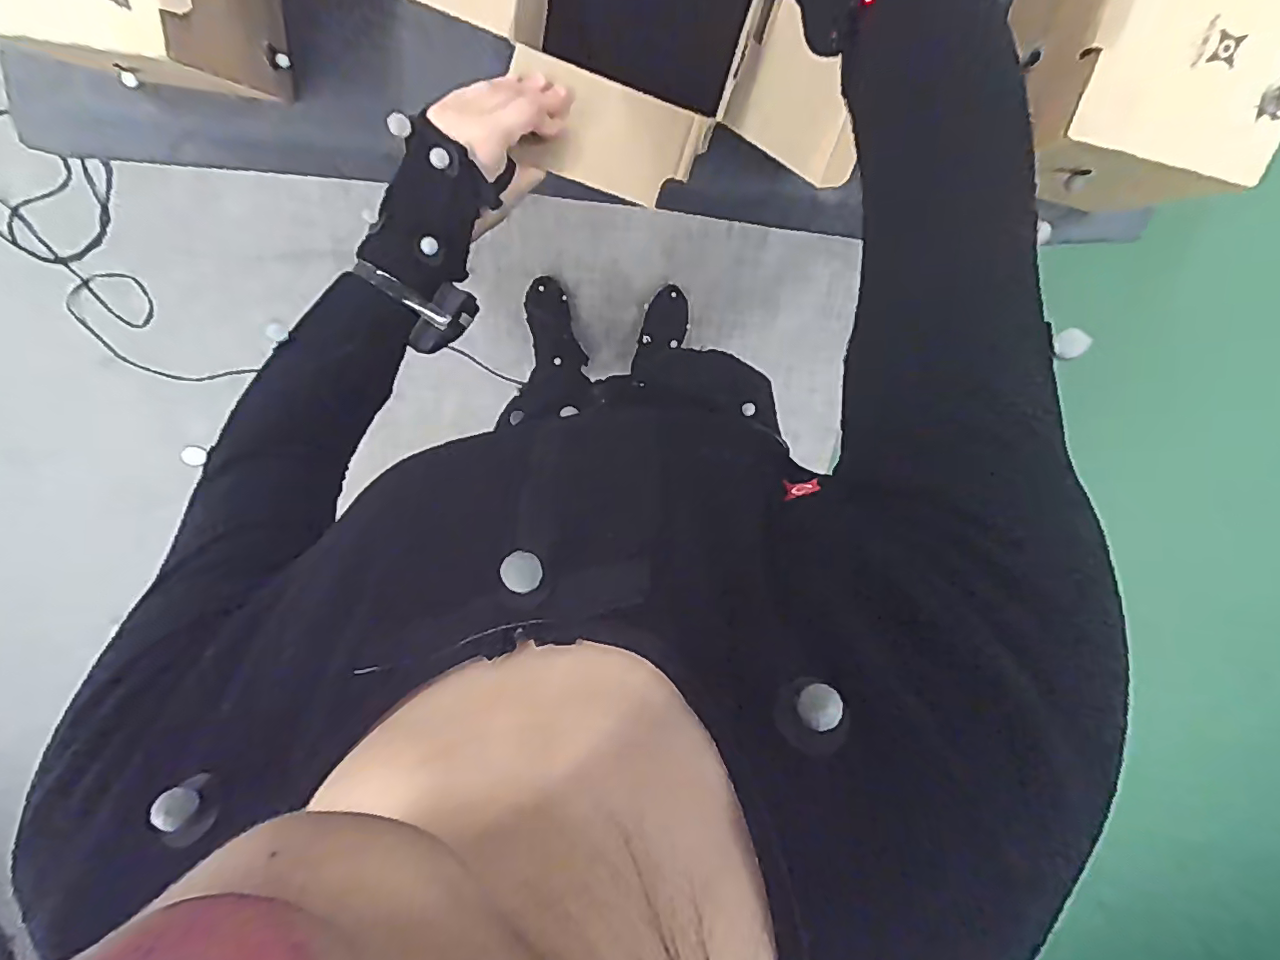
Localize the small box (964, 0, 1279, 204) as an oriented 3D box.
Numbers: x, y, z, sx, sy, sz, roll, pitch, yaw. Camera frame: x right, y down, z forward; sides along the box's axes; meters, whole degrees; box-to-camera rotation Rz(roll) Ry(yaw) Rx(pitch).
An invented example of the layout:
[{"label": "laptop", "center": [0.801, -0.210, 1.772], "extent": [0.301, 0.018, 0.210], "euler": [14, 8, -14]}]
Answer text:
[{"label": "small box", "center": [0.435, -0.358, 0.480], "extent": [0.179, 0.176, 0.168], "euler": [12, 111, -4]}]

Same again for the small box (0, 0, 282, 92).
[{"label": "small box", "center": [-0.436, -0.448, 0.454], "extent": [0.179, 0.176, 0.168], "euler": [7, 116, -2]}]
